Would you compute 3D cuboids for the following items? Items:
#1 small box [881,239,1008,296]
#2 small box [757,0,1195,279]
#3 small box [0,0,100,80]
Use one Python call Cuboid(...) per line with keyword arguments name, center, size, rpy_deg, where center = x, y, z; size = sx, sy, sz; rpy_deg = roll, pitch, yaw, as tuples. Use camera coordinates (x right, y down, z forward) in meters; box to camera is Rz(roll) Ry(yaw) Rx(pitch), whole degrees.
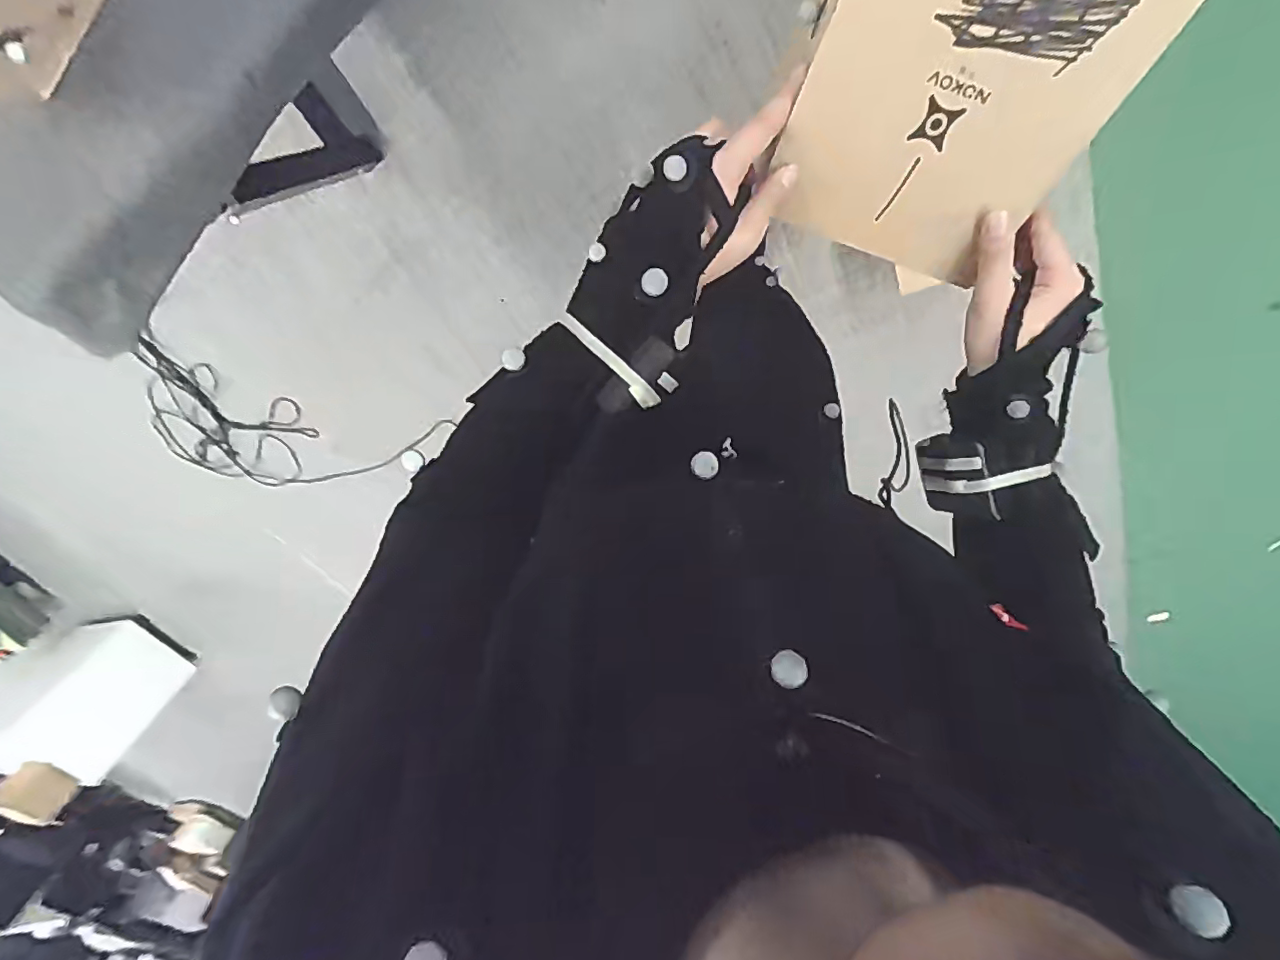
Cuboid(name="small box", center=(0.543, -0.471, 0.991), size=(0.179, 0.176, 0.168), rpy_deg=(-15, 123, 23))
Cuboid(name="small box", center=(0.185, -0.272, 0.353), size=(0.168, 0.176, 0.179), rpy_deg=(17, 138, -5))
Cuboid(name="small box", center=(-0.500, -0.378, 0.329), size=(0.168, 0.176, 0.179), rpy_deg=(-23, 121, 25))
